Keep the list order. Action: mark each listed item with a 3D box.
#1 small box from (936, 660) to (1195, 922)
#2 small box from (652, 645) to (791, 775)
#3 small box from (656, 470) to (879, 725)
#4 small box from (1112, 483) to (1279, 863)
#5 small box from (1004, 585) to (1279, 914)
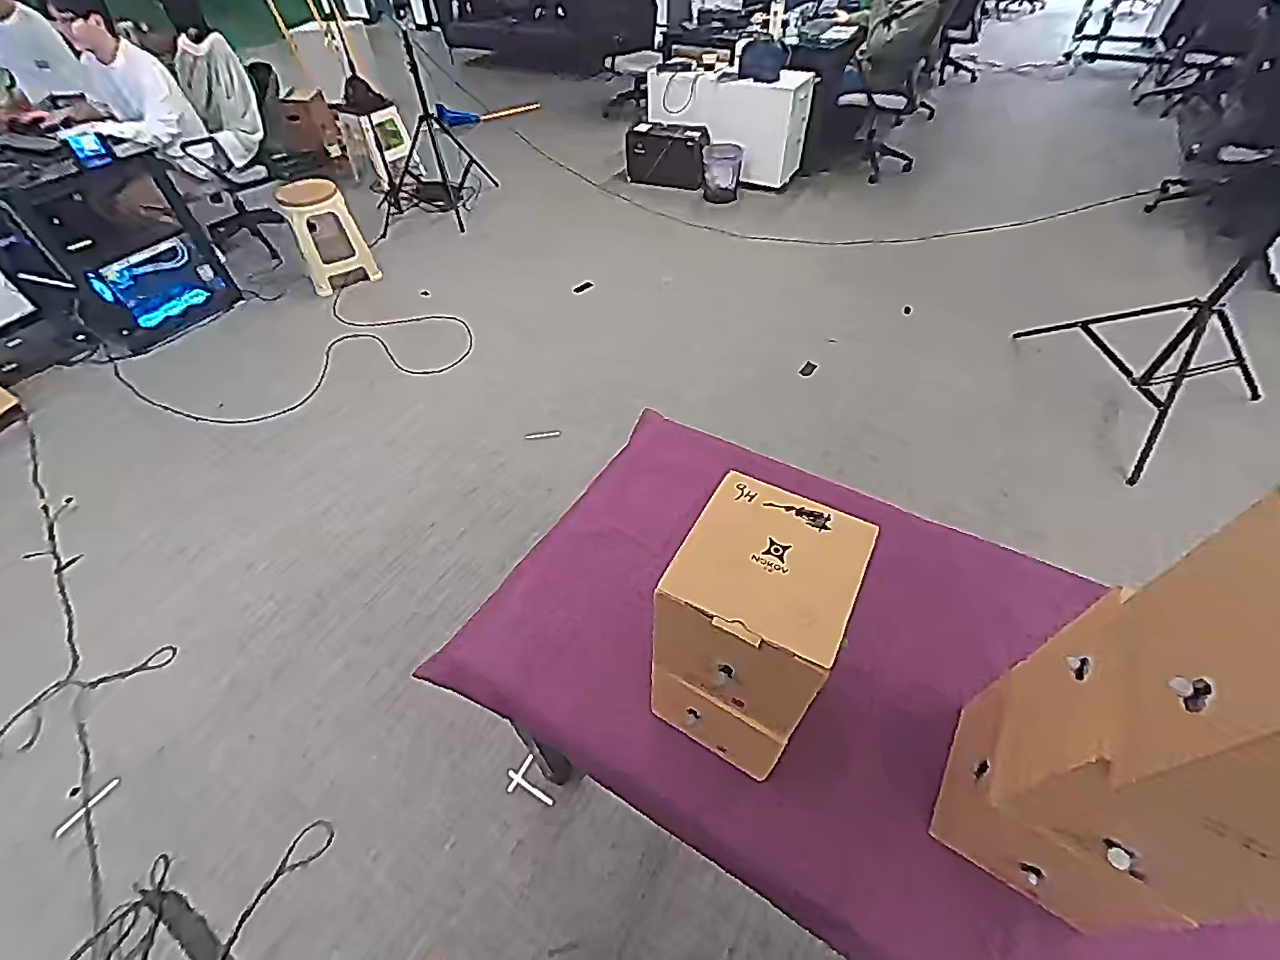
[{"bbox_3d":[0.455,0.343,0.596,0.168,0.176,0.179,27,54,22],"label":"small box"},{"bbox_3d":[0.130,0.241,0.697,0.168,0.176,0.179,25,53,21],"label":"small box"},{"bbox_3d":[0.129,0.127,0.579,0.168,0.176,0.179,23,52,20],"label":"small box"},{"bbox_3d":[0.443,0.140,0.340,0.168,0.176,0.179,24,53,20],"label":"small box"},{"bbox_3d":[0.456,0.233,0.474,0.168,0.176,0.179,26,55,23],"label":"small box"}]
